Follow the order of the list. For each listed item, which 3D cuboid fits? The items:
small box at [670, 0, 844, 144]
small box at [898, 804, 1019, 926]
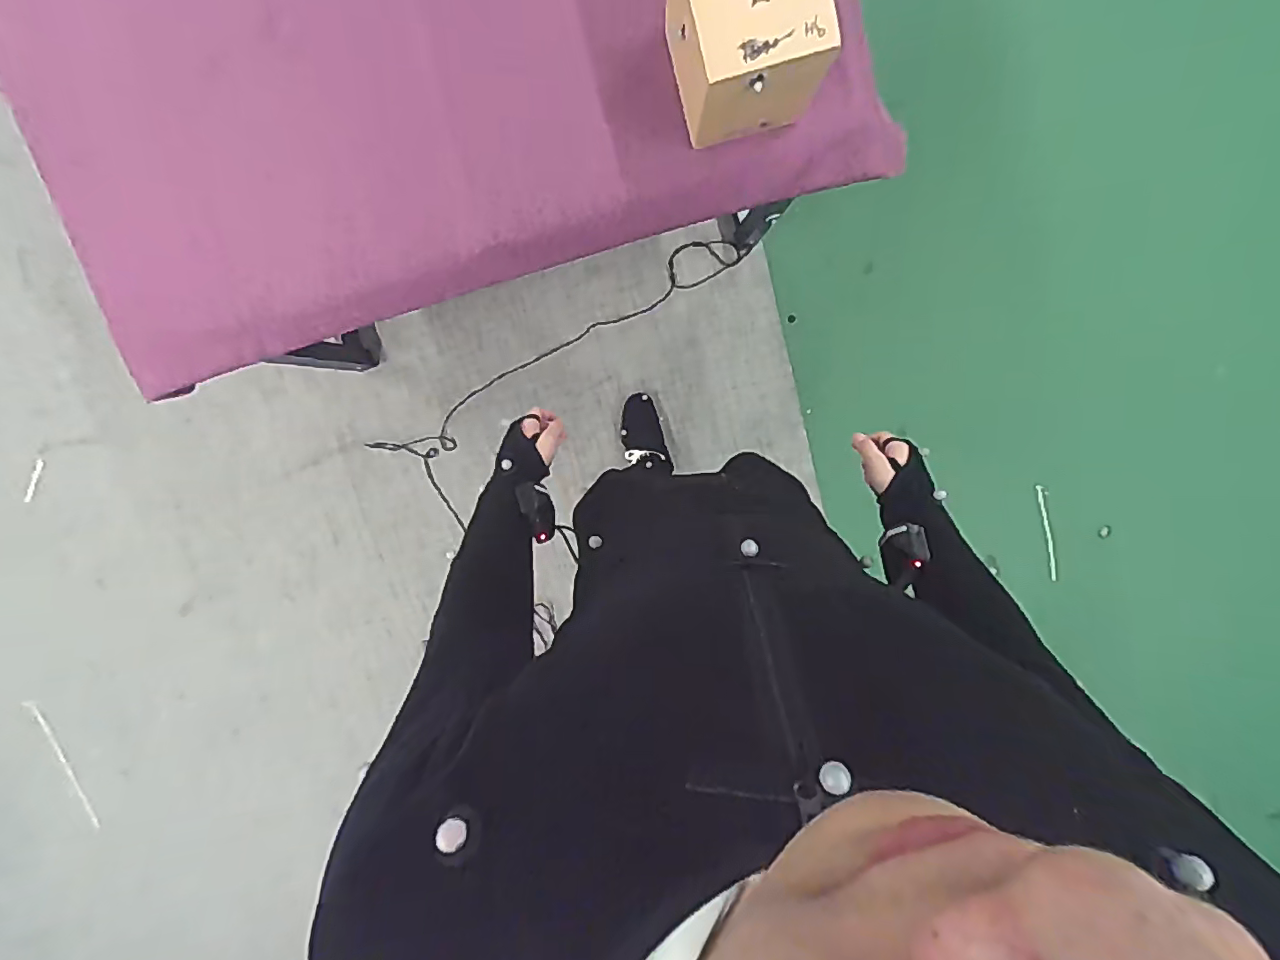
[{"bbox_3d":[0.139,-0.585,0.706,0.168,0.176,0.179,-15,96,2],"label":"small box"},{"bbox_3d":[0.803,0.973,1.385,0.179,0.176,0.168,22,98,-5],"label":"small box"}]
